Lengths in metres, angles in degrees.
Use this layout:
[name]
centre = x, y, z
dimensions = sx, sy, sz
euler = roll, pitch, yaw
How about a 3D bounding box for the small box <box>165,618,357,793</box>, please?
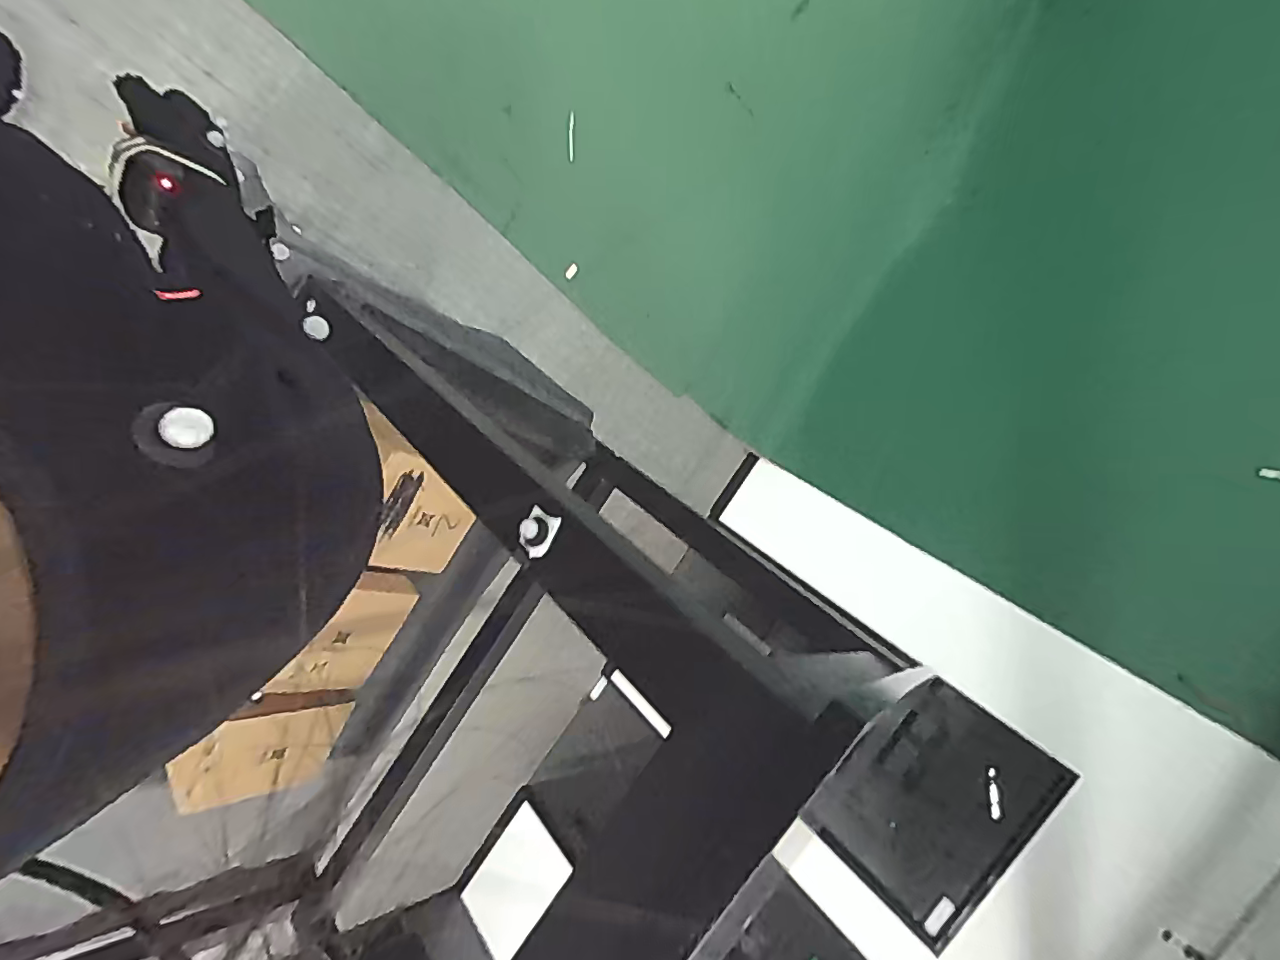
[small box]
centre = -0.582, 0.329, 0.831
dimensions = 0.179, 0.176, 0.168
euler = 16, 107, -55
